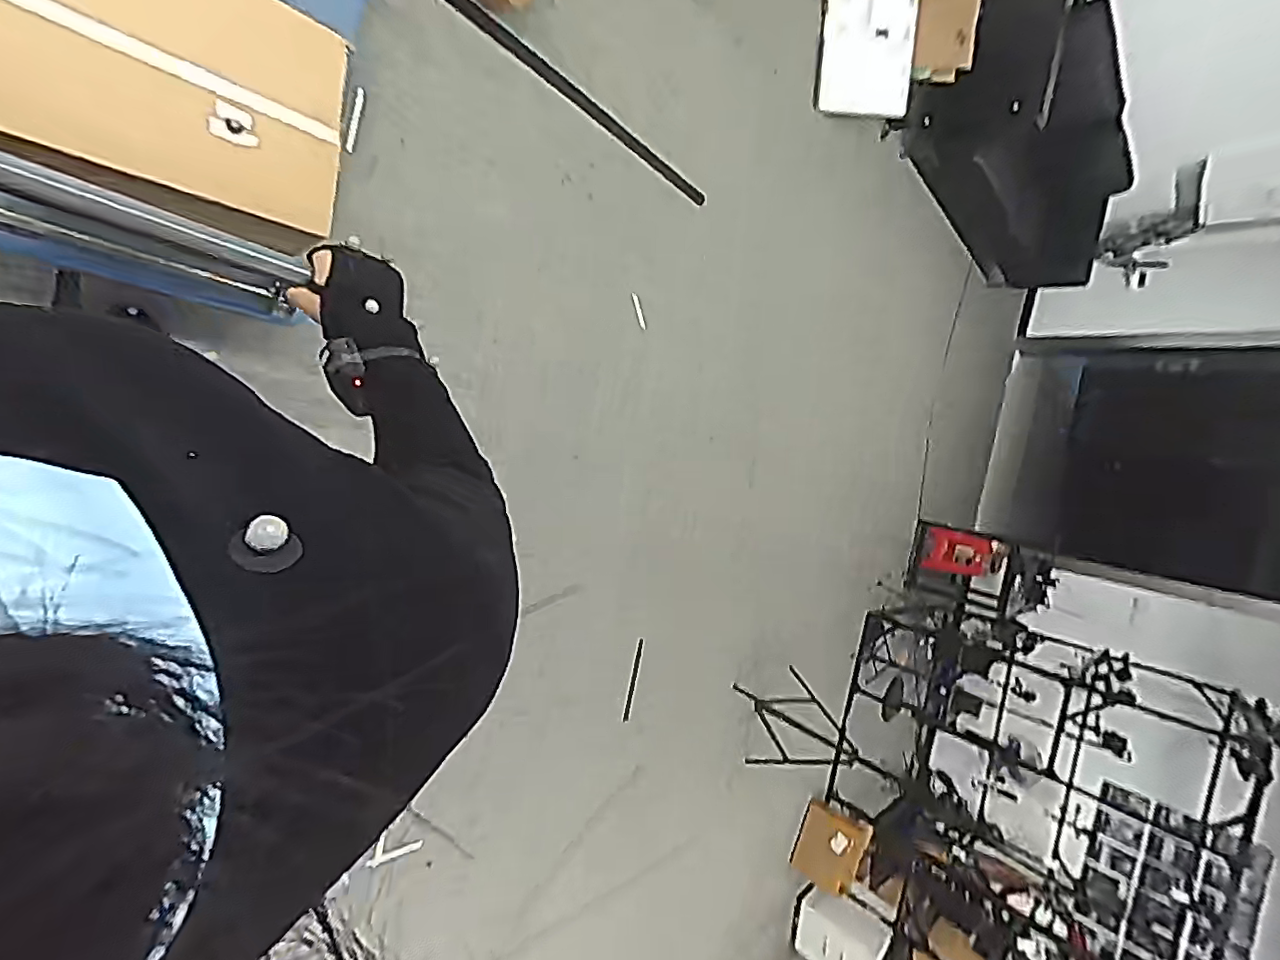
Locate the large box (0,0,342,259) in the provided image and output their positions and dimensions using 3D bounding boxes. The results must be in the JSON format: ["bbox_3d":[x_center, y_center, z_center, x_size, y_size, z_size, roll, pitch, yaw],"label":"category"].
[{"bbox_3d":[-0.743,-0.578,0.838,0.408,0.320,0.320,4,97,-47],"label":"large box"}]
